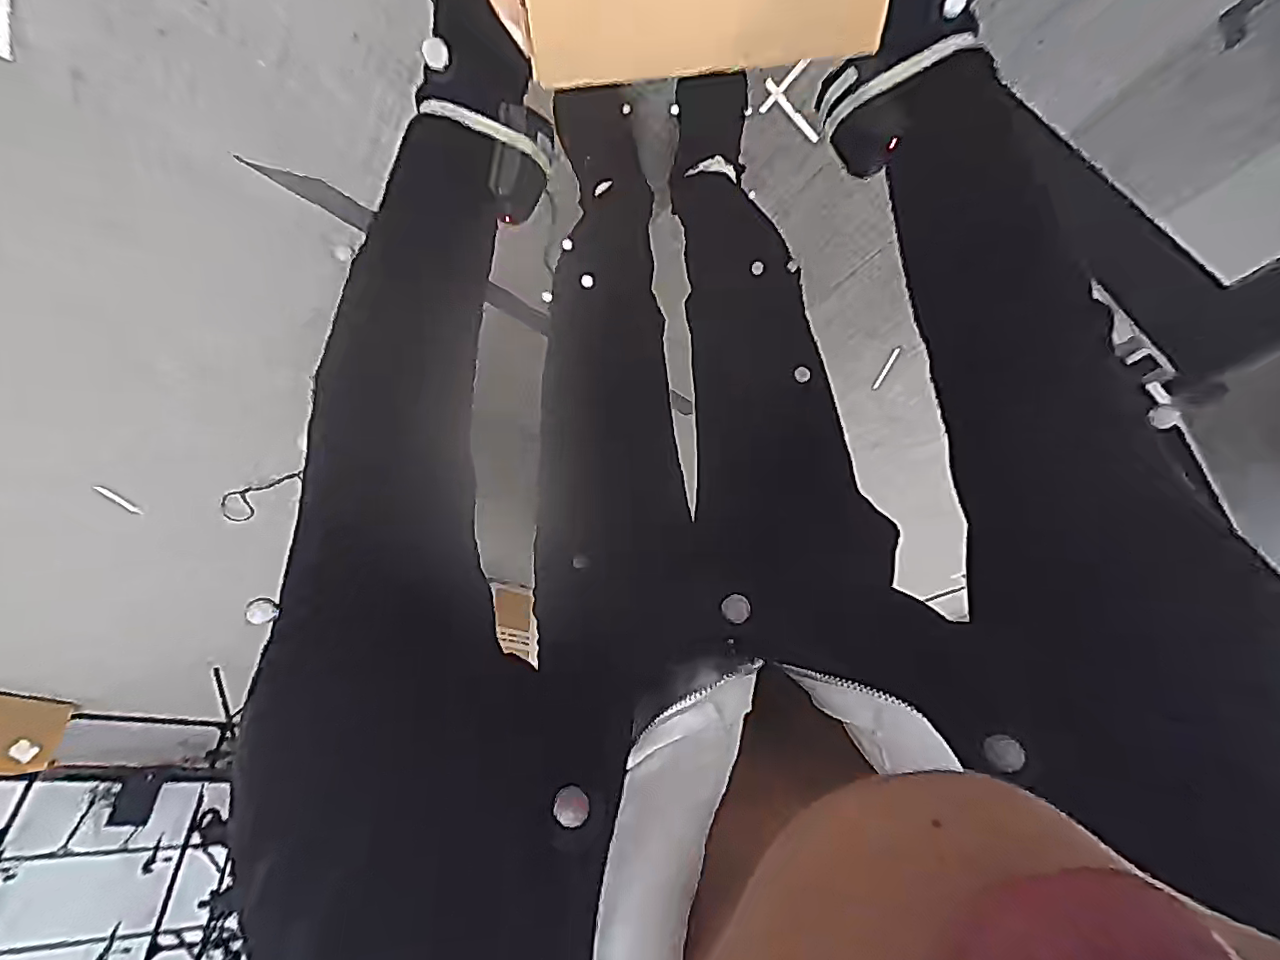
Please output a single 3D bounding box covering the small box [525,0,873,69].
[{"bbox_3d":[0.022,-0.336,0.269,0.179,0.176,0.168,-6,144,0],"label":"small box"}]
